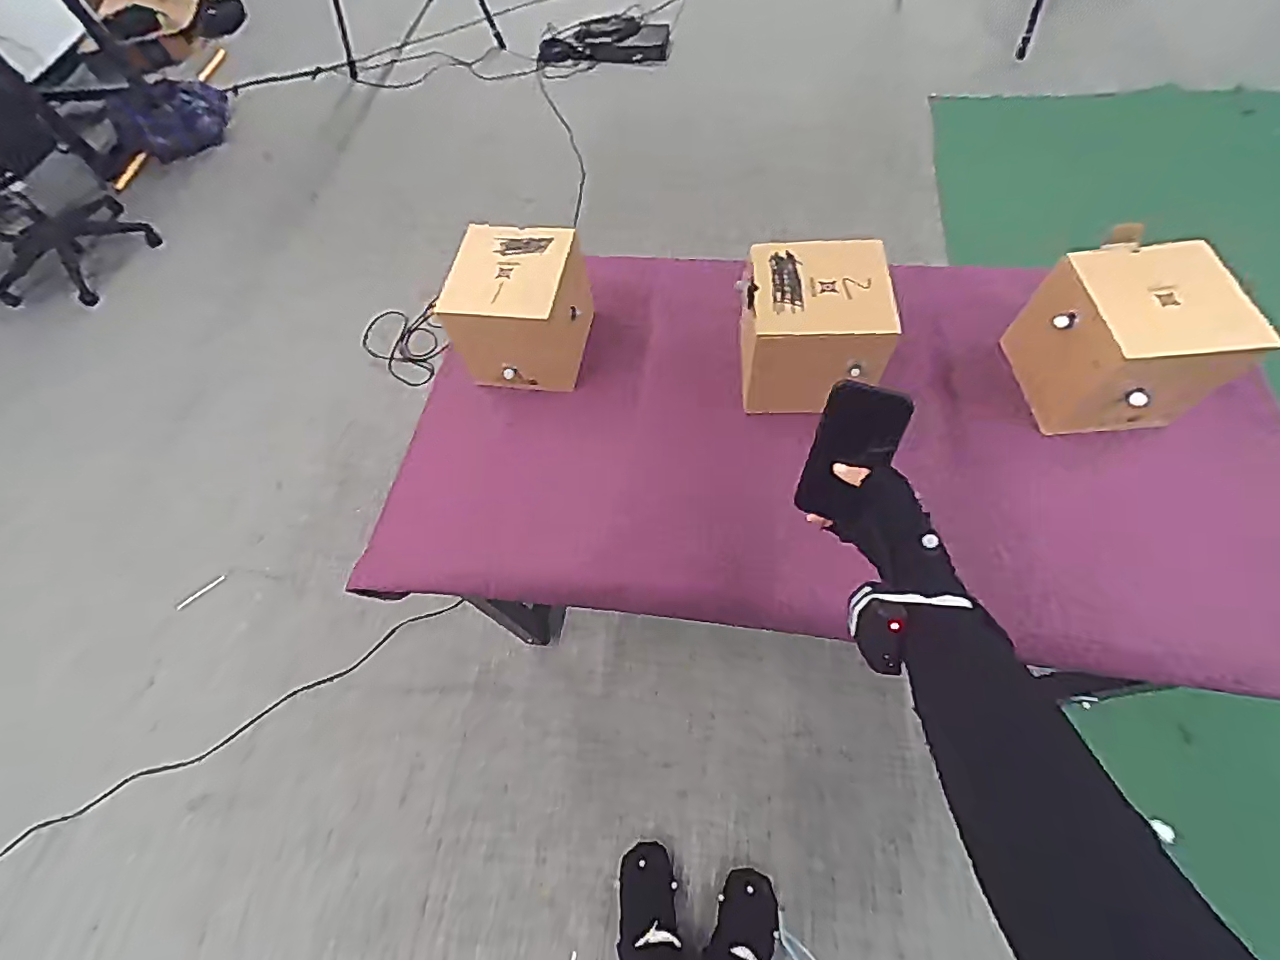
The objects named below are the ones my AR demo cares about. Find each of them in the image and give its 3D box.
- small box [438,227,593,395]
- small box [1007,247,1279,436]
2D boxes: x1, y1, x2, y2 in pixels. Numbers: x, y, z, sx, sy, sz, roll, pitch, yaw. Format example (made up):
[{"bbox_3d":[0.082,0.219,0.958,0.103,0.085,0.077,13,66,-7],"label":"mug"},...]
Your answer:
[{"bbox_3d":[-0.174,-0.255,0.827,0.168,0.176,0.179,7,65,9],"label":"small box"},{"bbox_3d":[0.626,-0.169,0.705,0.168,0.176,0.179,-4,61,4],"label":"small box"}]
